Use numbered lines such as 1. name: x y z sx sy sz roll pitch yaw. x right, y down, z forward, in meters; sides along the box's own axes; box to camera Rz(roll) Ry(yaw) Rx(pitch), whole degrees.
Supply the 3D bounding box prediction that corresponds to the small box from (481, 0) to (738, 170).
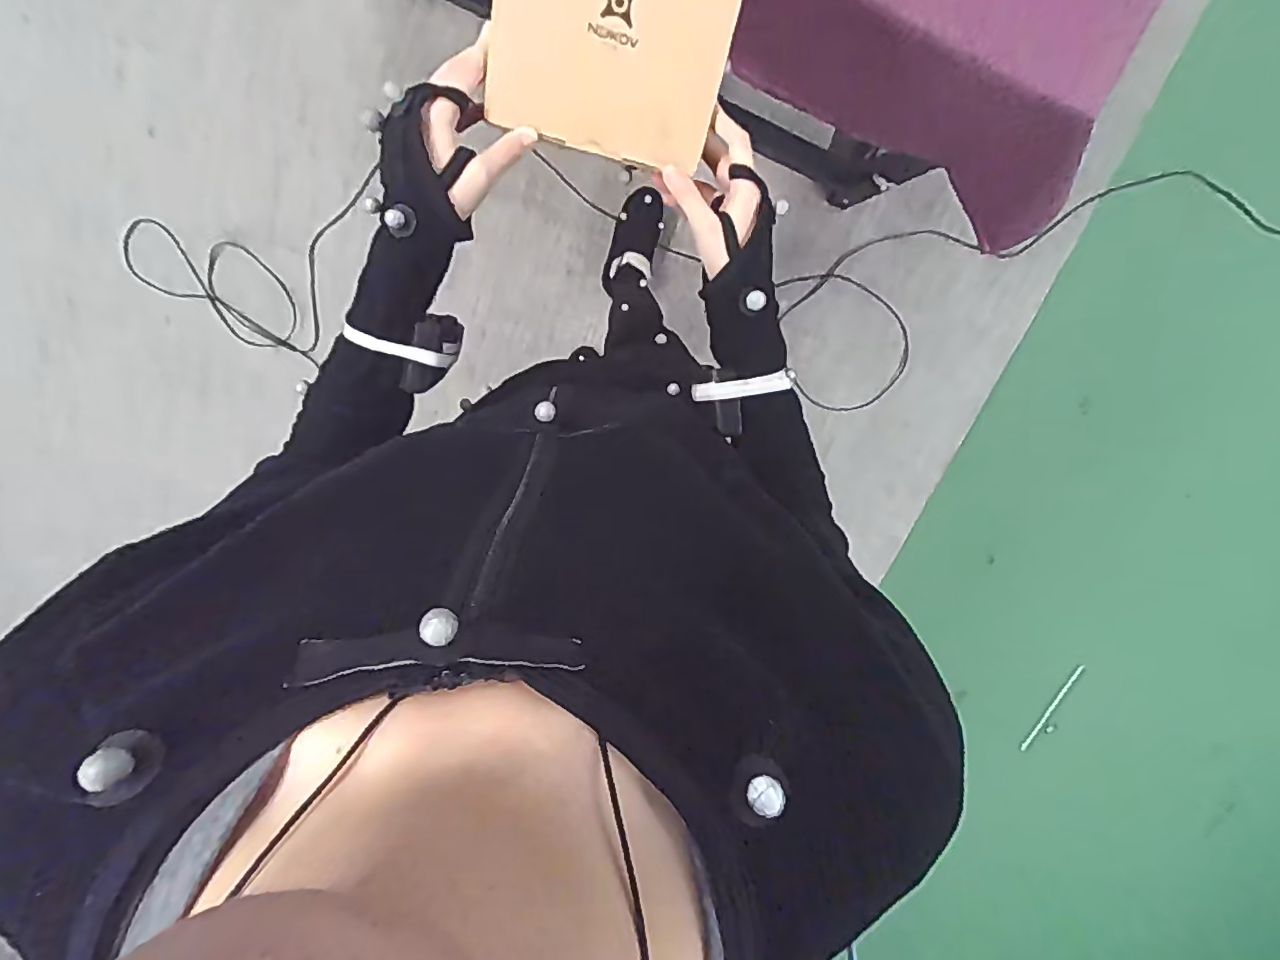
1. small box: -0.025 -0.371 0.435 0.168 0.176 0.179 9 119 -14
